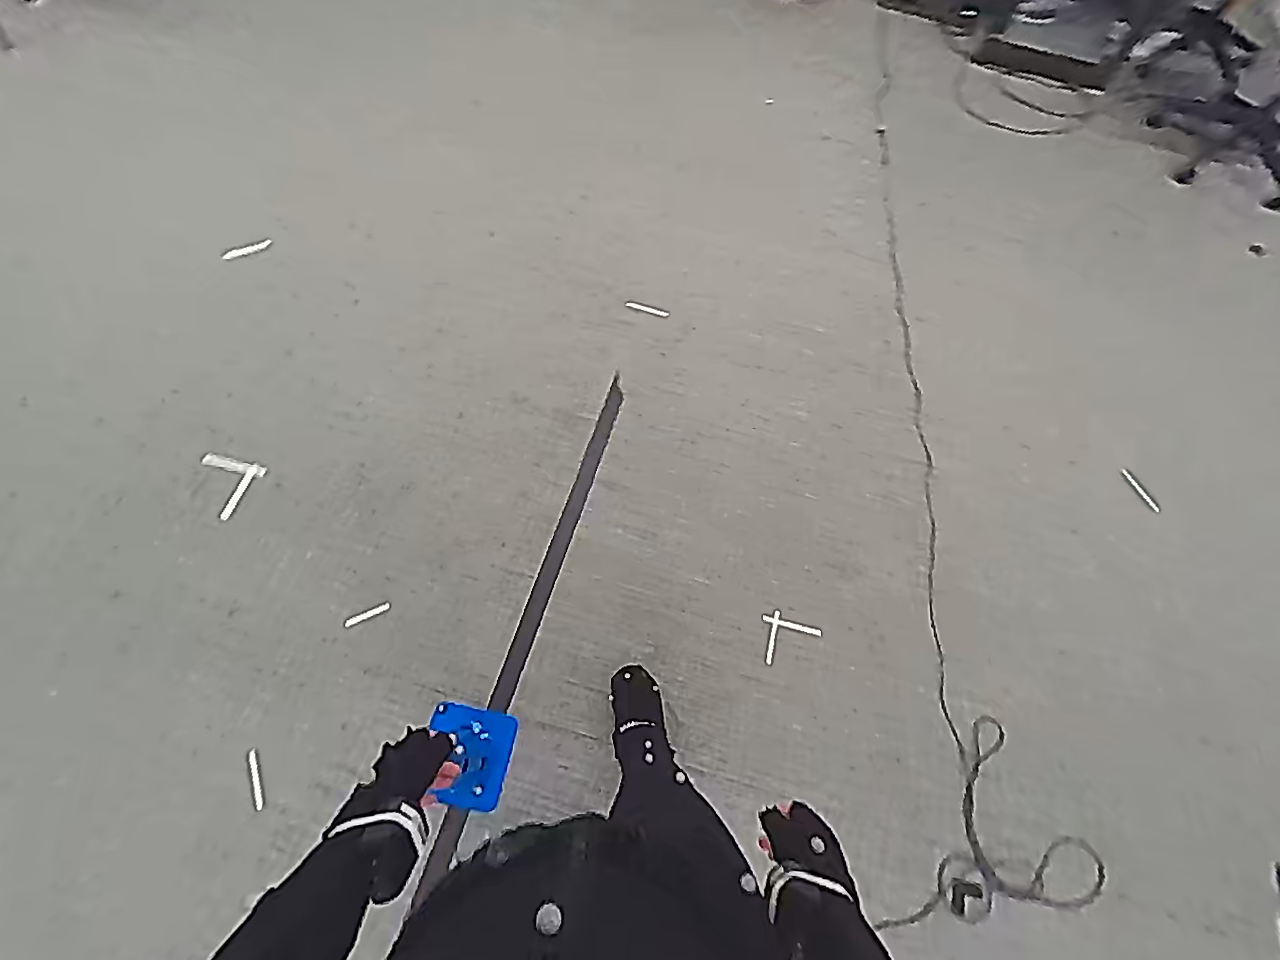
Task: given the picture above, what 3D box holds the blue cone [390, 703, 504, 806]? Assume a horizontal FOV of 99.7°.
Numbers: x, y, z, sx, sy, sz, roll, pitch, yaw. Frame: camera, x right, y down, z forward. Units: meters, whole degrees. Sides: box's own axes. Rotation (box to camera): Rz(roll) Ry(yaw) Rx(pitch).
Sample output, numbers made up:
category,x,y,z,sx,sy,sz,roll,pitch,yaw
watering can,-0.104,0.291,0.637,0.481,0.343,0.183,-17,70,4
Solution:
category,x,y,z,sx,sy,sz,roll,pitch,yaw
blue cone,-0.406,0.554,1.080,0.192,0.380,0.193,14,65,3
